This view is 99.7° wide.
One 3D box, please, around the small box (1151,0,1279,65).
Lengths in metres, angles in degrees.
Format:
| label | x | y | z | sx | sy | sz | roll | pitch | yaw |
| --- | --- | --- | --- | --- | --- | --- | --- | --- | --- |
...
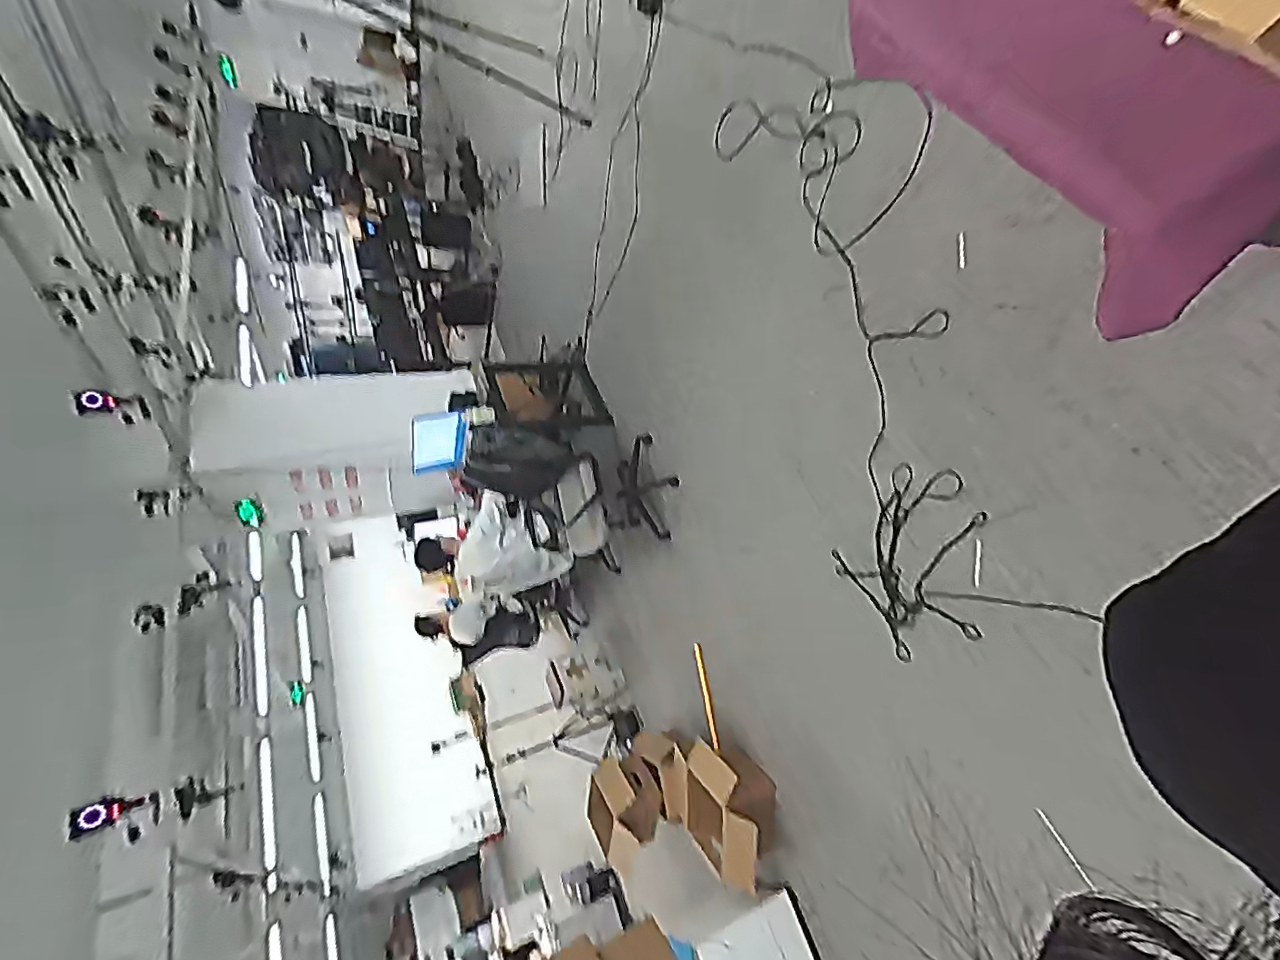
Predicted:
| label | x | y | z | sx | sy | sz | roll | pitch | yaw |
| --- | --- | --- | --- | --- | --- | --- | --- | --- | --- |
| small box | 0.543 | -0.466 | 0.428 | 0.168 | 0.176 | 0.179 | 66 | 149 | 29 |
